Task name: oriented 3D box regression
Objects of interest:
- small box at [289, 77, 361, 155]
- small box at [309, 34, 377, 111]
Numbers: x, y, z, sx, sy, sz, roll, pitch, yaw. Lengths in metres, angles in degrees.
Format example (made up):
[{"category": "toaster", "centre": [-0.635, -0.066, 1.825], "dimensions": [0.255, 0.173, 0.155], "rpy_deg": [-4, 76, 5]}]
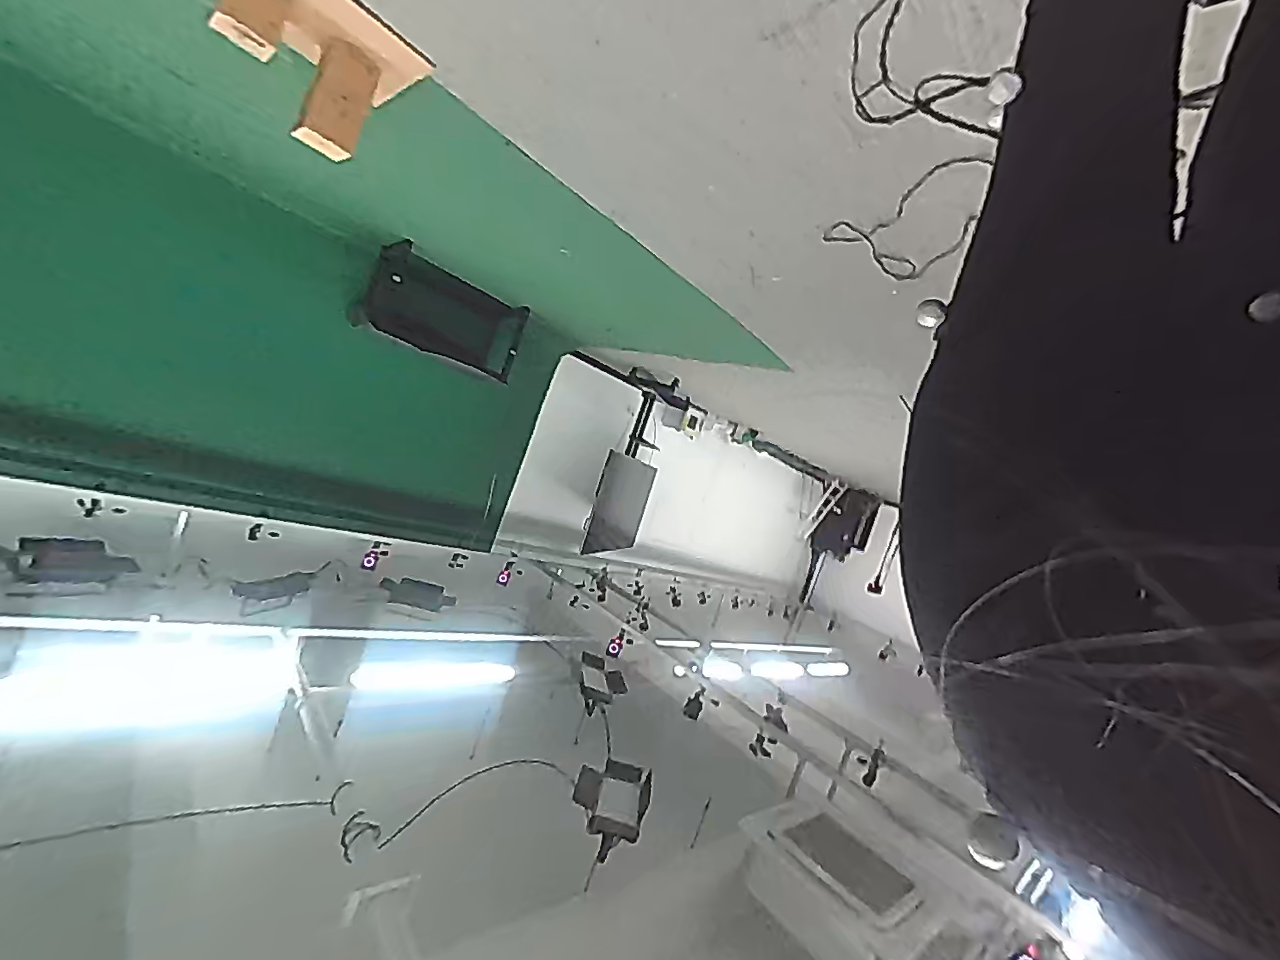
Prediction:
[{"category": "small box", "centre": [-1.165, -1.347, 2.006], "dimensions": [0.179, 0.176, 0.168], "rpy_deg": [21, -178, 41]}, {"category": "small box", "centre": [-1.099, -1.495, 1.997], "dimensions": [0.179, 0.176, 0.168], "rpy_deg": [22, -177, 42]}]
